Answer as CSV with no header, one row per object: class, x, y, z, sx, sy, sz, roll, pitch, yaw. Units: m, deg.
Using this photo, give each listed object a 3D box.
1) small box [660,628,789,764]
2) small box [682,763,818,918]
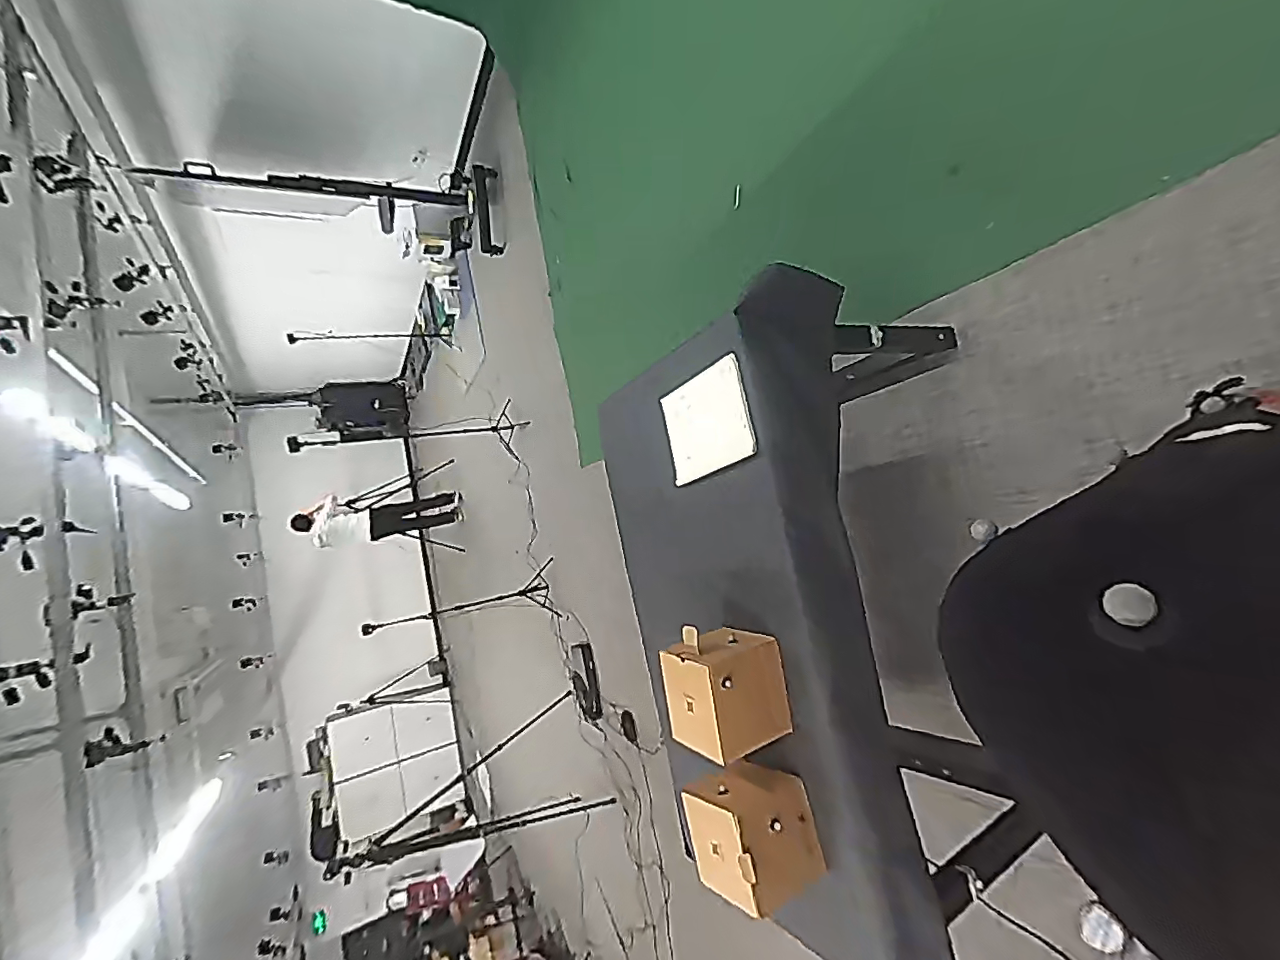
small box,0.161,0.396,1.026,0.168,0.176,0.179,-14,84,60
small box,0.207,0.651,1.006,0.179,0.176,0.168,-31,69,59
